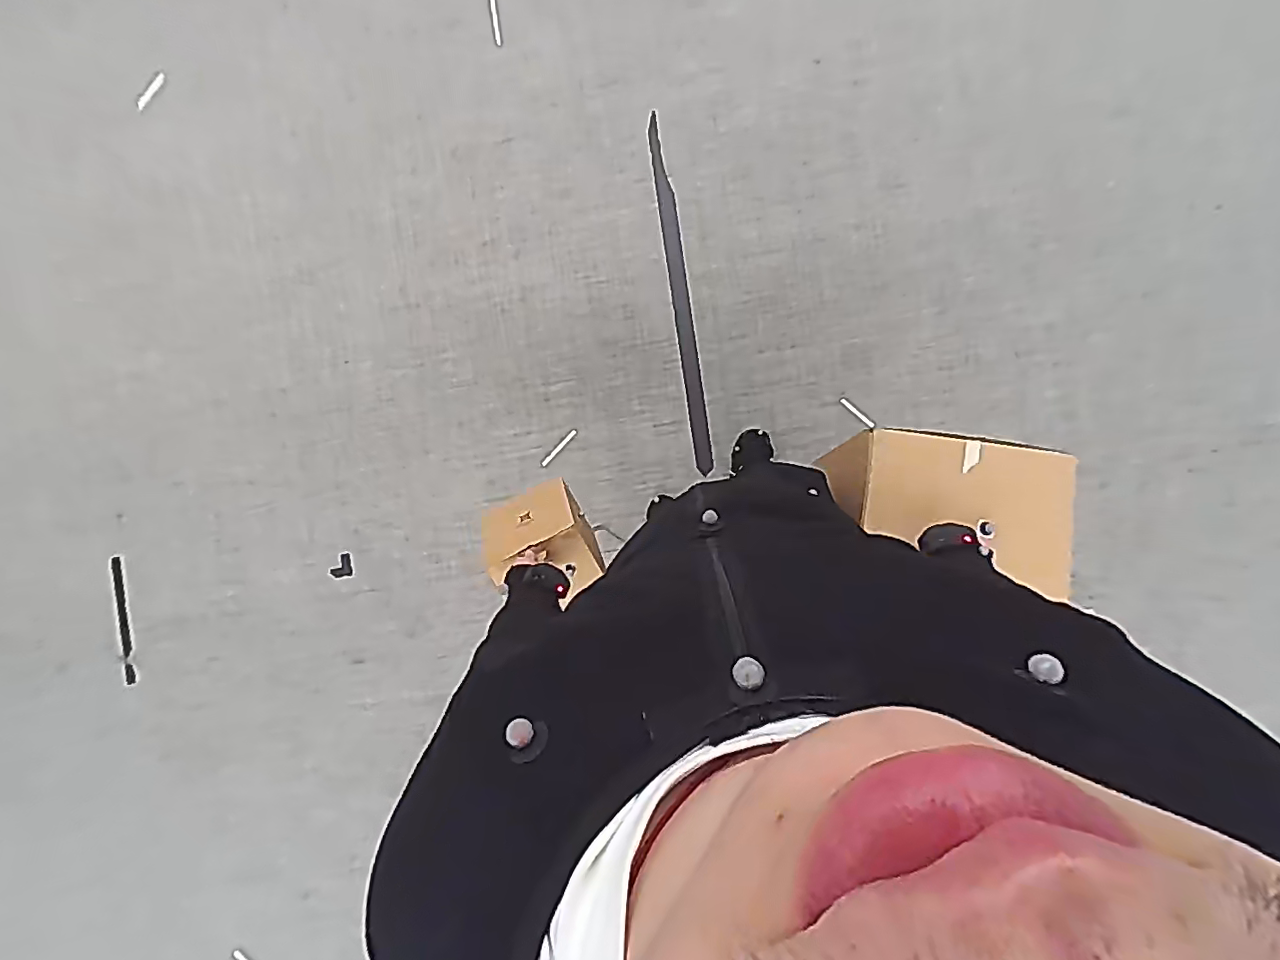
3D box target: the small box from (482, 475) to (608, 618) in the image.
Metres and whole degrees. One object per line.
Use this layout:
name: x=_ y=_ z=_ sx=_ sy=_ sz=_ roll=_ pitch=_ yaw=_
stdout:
small box: x=-0.173 y=0.128 z=0.995 sx=0.168 sy=0.179 sz=0.176 roll=-25 pitch=124 yaw=-2
